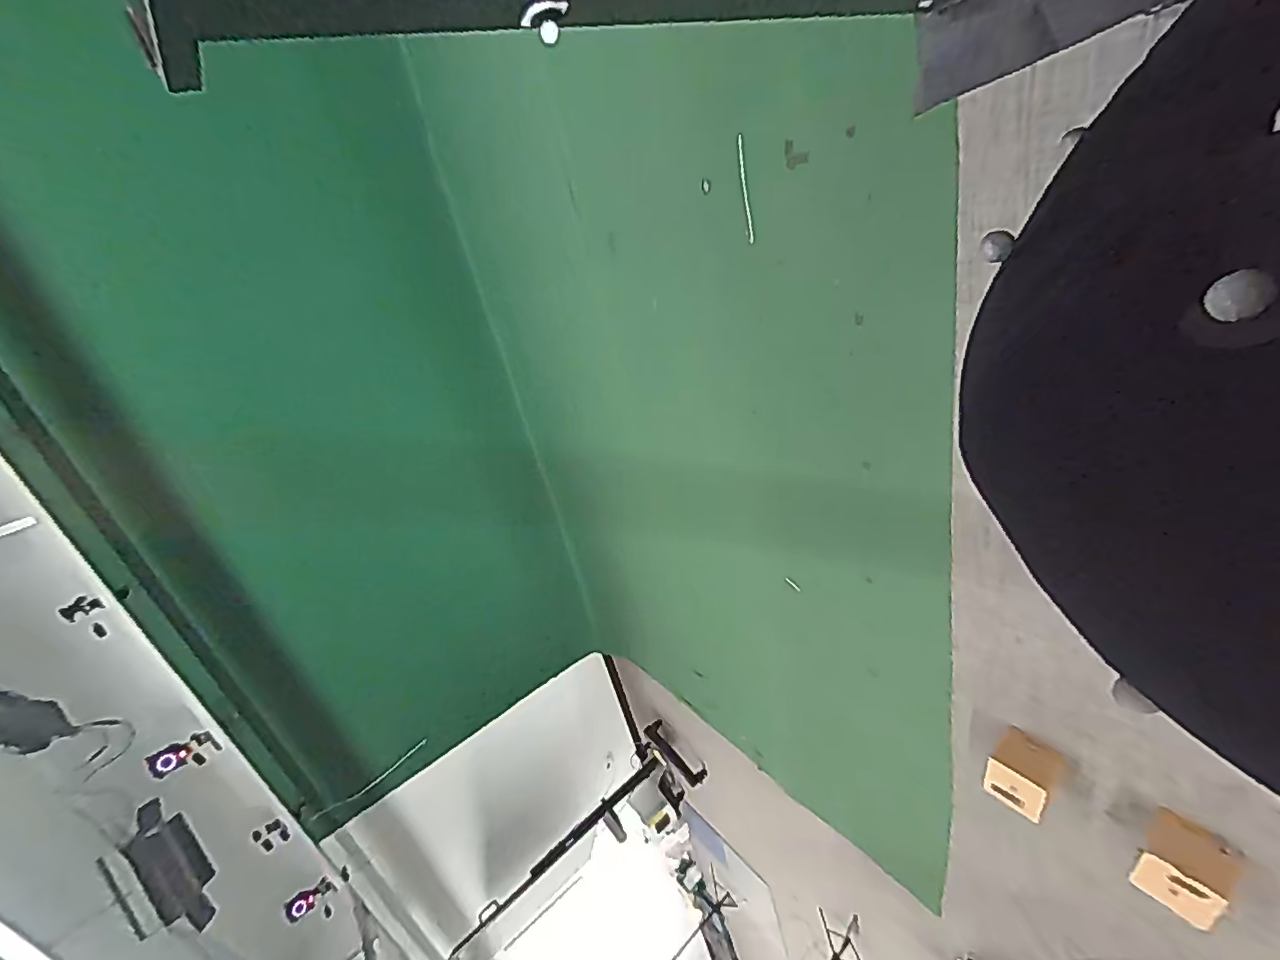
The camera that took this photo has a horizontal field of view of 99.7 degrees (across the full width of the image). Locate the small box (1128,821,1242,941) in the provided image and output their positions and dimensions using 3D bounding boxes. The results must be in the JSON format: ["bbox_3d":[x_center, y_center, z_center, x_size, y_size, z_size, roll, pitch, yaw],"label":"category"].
[{"bbox_3d":[1.492,1.087,1.479,0.168,0.176,0.179,28,138,47],"label":"small box"}]
